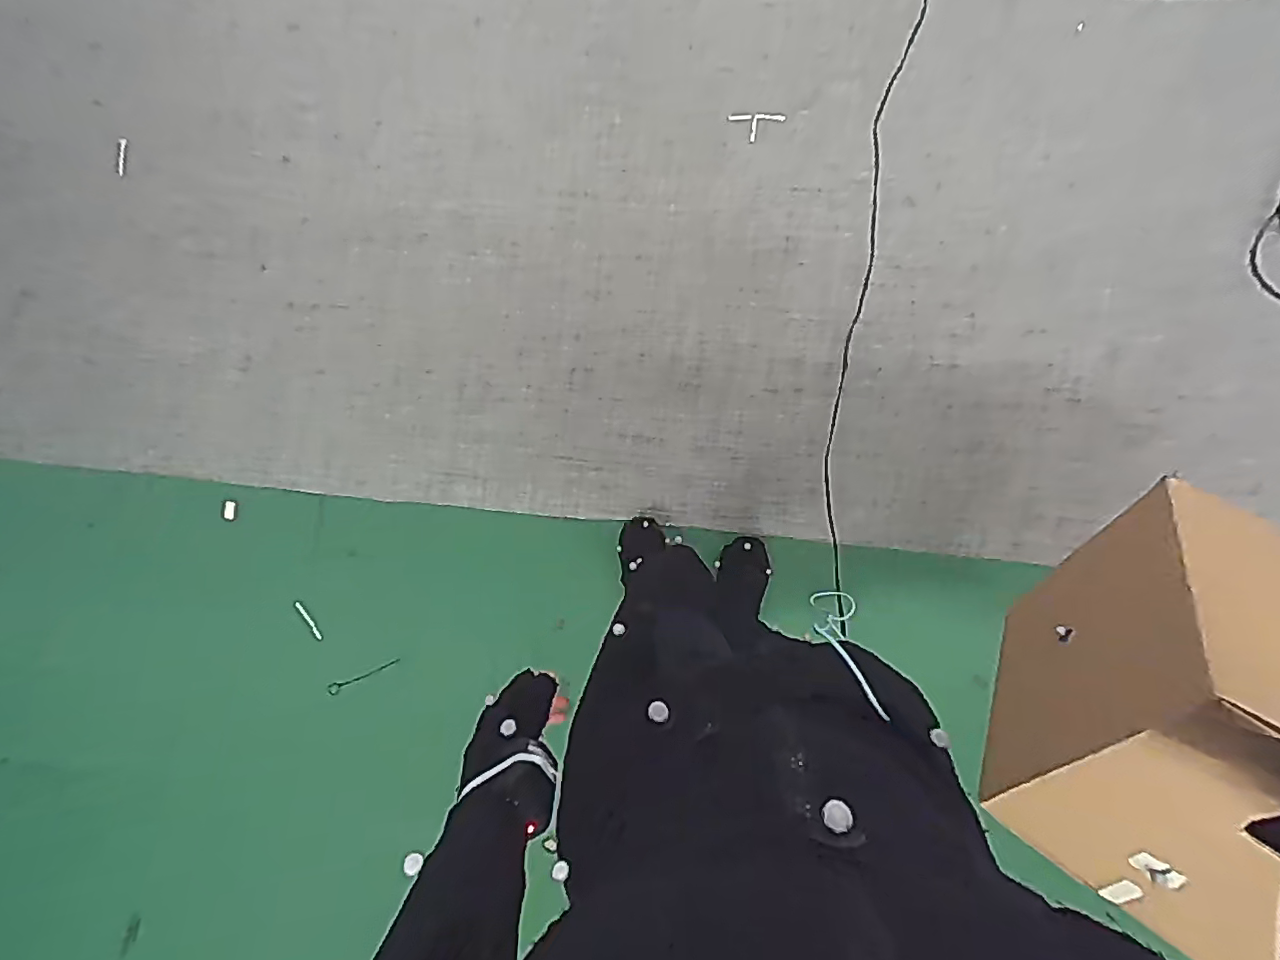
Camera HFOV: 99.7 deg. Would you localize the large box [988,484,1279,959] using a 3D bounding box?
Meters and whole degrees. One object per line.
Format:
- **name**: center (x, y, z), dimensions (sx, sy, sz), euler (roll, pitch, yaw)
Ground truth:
- **large box**: center (0.682, 0.283, 0.657), dimensions (0.320, 0.408, 0.320), euler (34, 134, 16)
